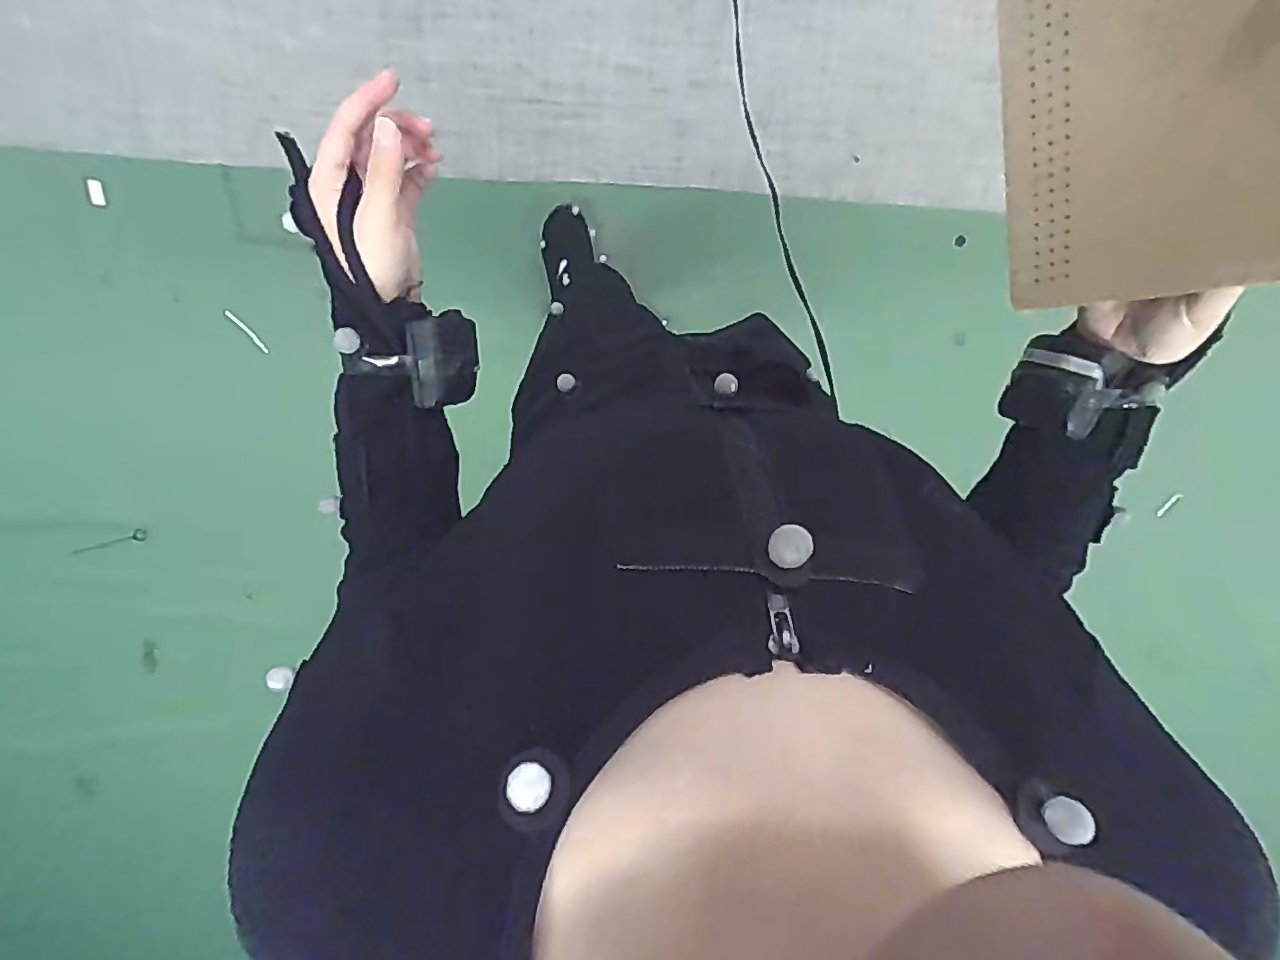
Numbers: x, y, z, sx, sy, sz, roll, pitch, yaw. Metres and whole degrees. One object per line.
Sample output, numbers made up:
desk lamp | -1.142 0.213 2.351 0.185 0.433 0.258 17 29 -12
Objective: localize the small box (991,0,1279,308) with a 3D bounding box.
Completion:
small box | 0.269 -0.181 0.208 0.168 0.176 0.179 -20 106 -17
